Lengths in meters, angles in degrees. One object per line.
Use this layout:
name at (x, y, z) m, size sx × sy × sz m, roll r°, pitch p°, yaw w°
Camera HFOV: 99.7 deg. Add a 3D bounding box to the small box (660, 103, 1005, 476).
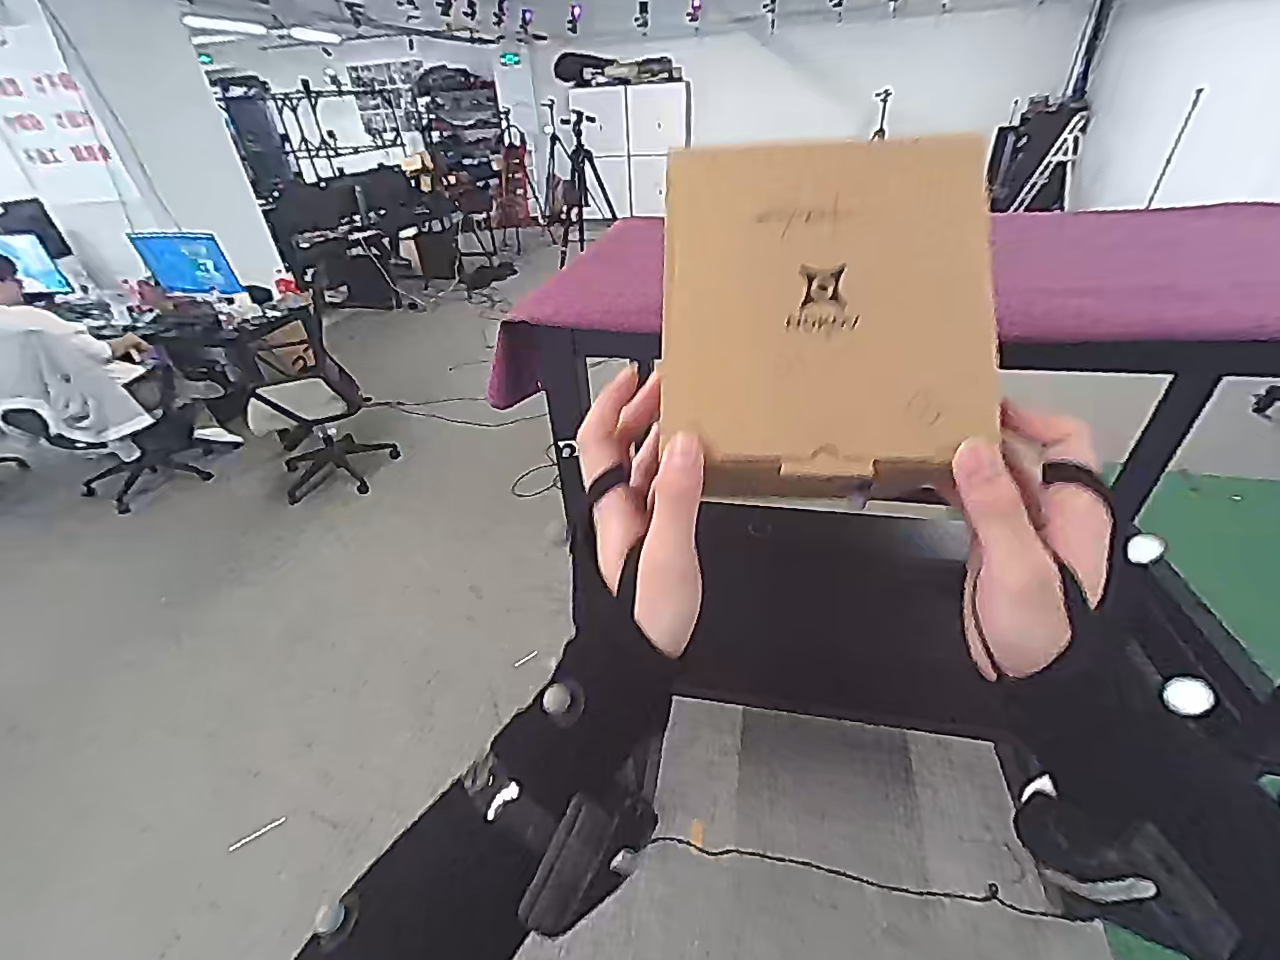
small box at (0.103, -0.098, 0.351) m, size 0.168 × 0.179 × 0.176 m, roll 1°, pitch -7°, yaw 5°
